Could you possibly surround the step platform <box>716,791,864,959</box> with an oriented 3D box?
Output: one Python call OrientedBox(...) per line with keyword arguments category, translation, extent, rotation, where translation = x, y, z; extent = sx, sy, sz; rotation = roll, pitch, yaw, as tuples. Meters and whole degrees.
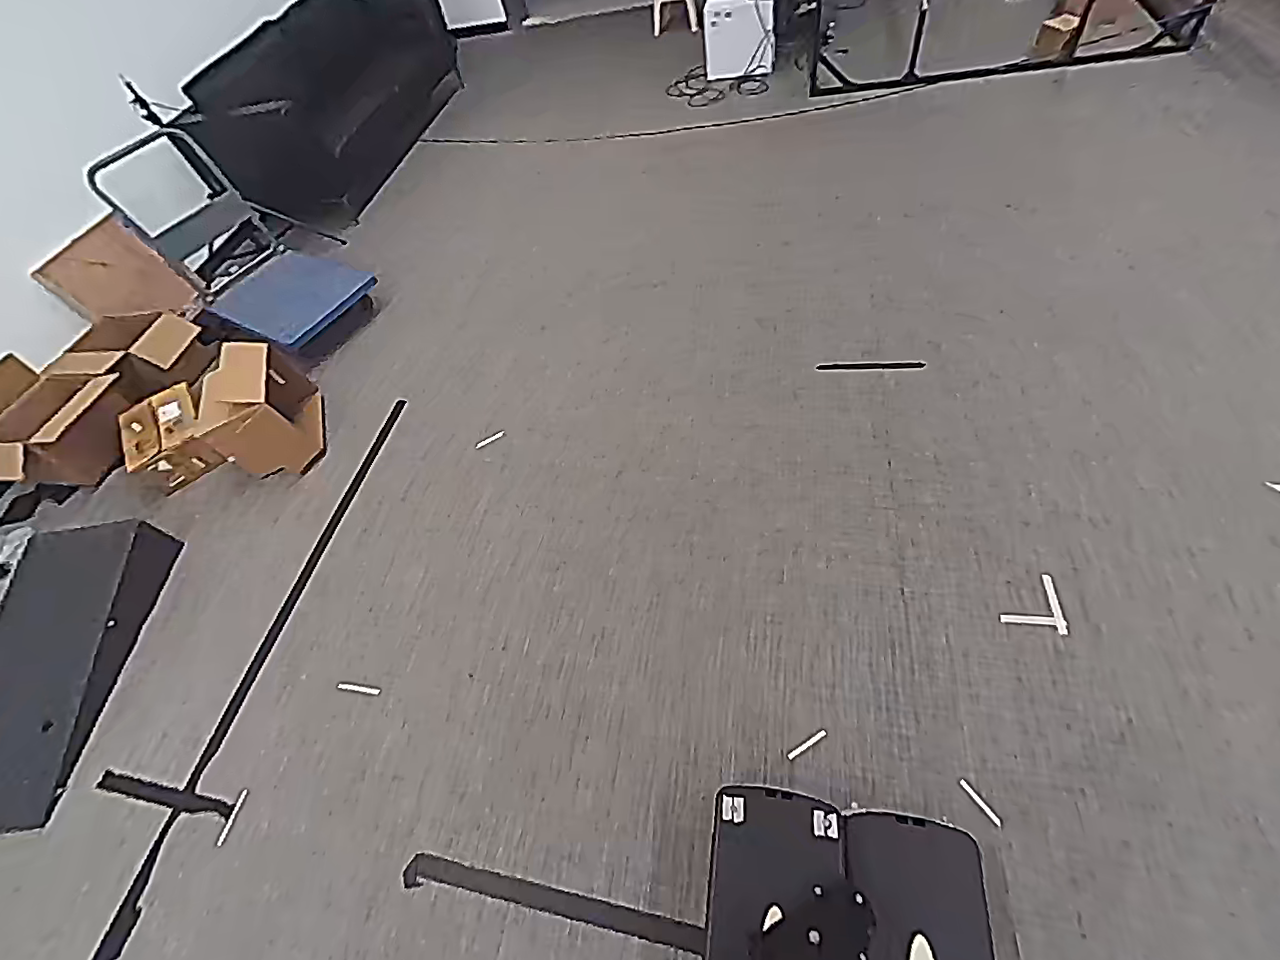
OrientedBox(category="step platform", translation=(0.293, 1.020, 1.085), extent=(0.286, 0.204, 0.684), rotation=(2, 55, 13))
